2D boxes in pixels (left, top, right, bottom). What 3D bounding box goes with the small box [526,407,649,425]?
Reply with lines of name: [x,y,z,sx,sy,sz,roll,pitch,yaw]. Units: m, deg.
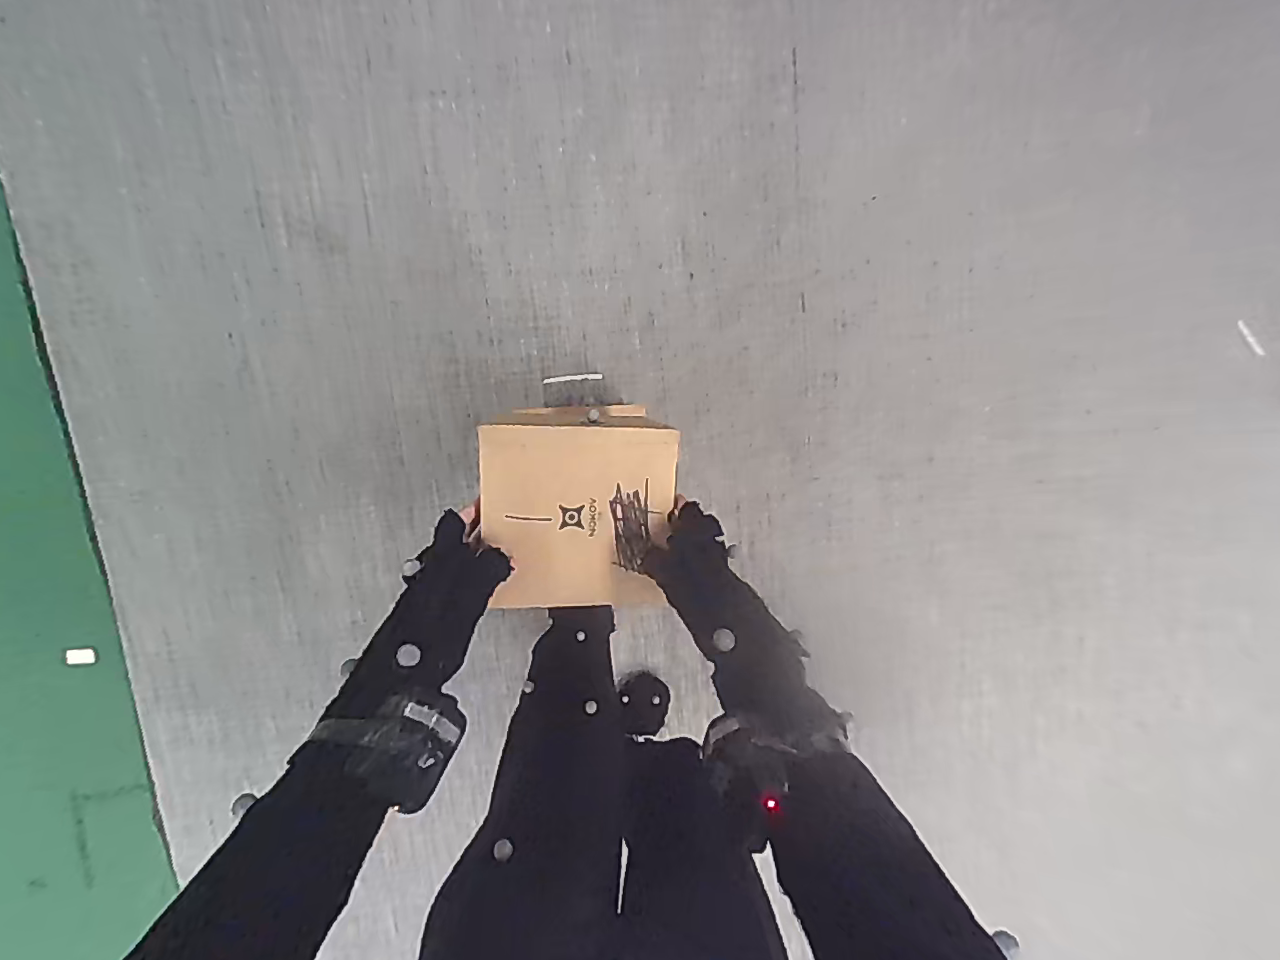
small box: [-0.082,-0.022,0.799,0.179,0.176,0.168,-2,98,-5]

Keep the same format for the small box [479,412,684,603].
small box: [-0.066,0.019,0.563,0.179,0.176,0.168,3,98,-10]
